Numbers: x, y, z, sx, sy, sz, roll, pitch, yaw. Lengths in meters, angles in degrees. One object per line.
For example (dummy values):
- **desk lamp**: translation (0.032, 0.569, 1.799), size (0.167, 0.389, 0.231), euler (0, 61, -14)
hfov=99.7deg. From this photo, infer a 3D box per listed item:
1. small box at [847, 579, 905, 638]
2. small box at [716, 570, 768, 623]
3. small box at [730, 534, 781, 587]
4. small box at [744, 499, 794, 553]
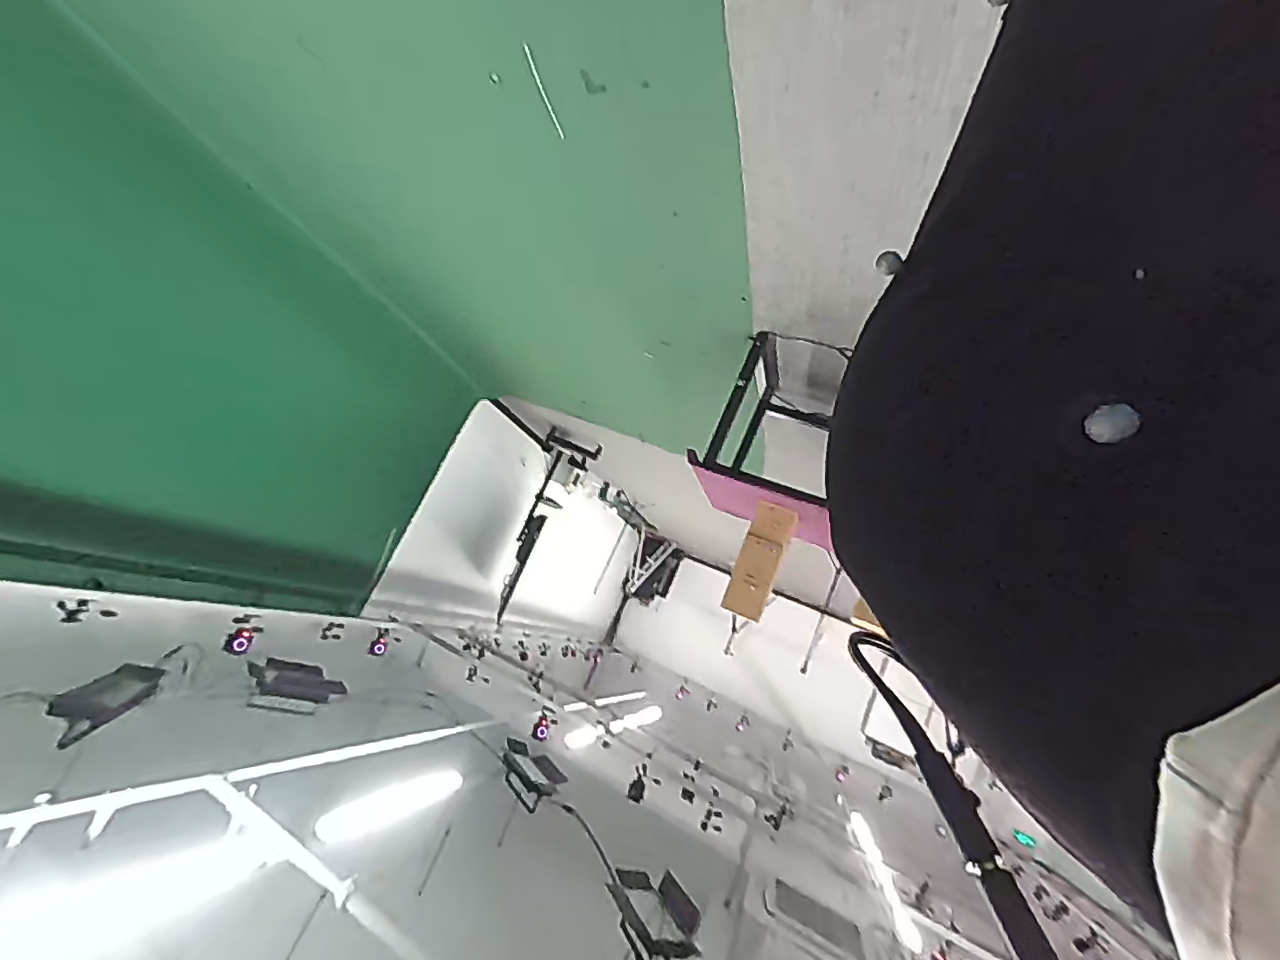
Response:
- **small box**: translation (0.928, 0.501, 2.125), size (0.168, 0.176, 0.179), euler (20, 168, 25)
- **small box**: translation (0.435, 0.493, 2.287), size (0.168, 0.176, 0.179), euler (20, 169, 19)
- **small box**: translation (0.495, 0.343, 2.312), size (0.168, 0.176, 0.179), euler (20, 170, 20)
- **small box**: translation (0.564, 0.198, 2.349), size (0.168, 0.176, 0.179), euler (19, 169, 22)
